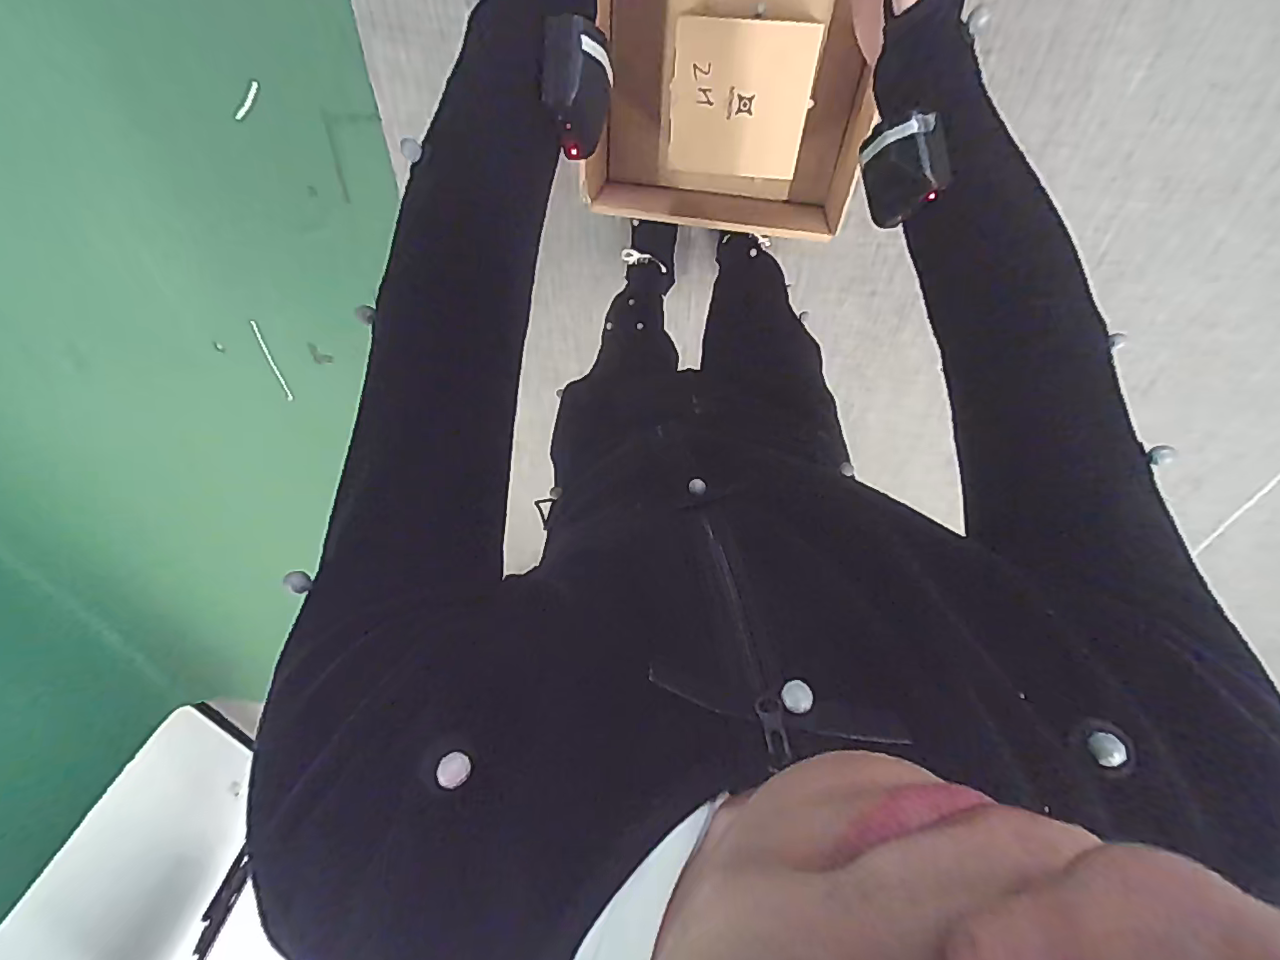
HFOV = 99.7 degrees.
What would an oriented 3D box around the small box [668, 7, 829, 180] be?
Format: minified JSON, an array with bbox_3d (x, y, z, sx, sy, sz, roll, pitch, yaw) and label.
[{"bbox_3d":[0.140,-0.533,0.743,0.179,0.176,0.168,8,133,4],"label":"small box"}]
